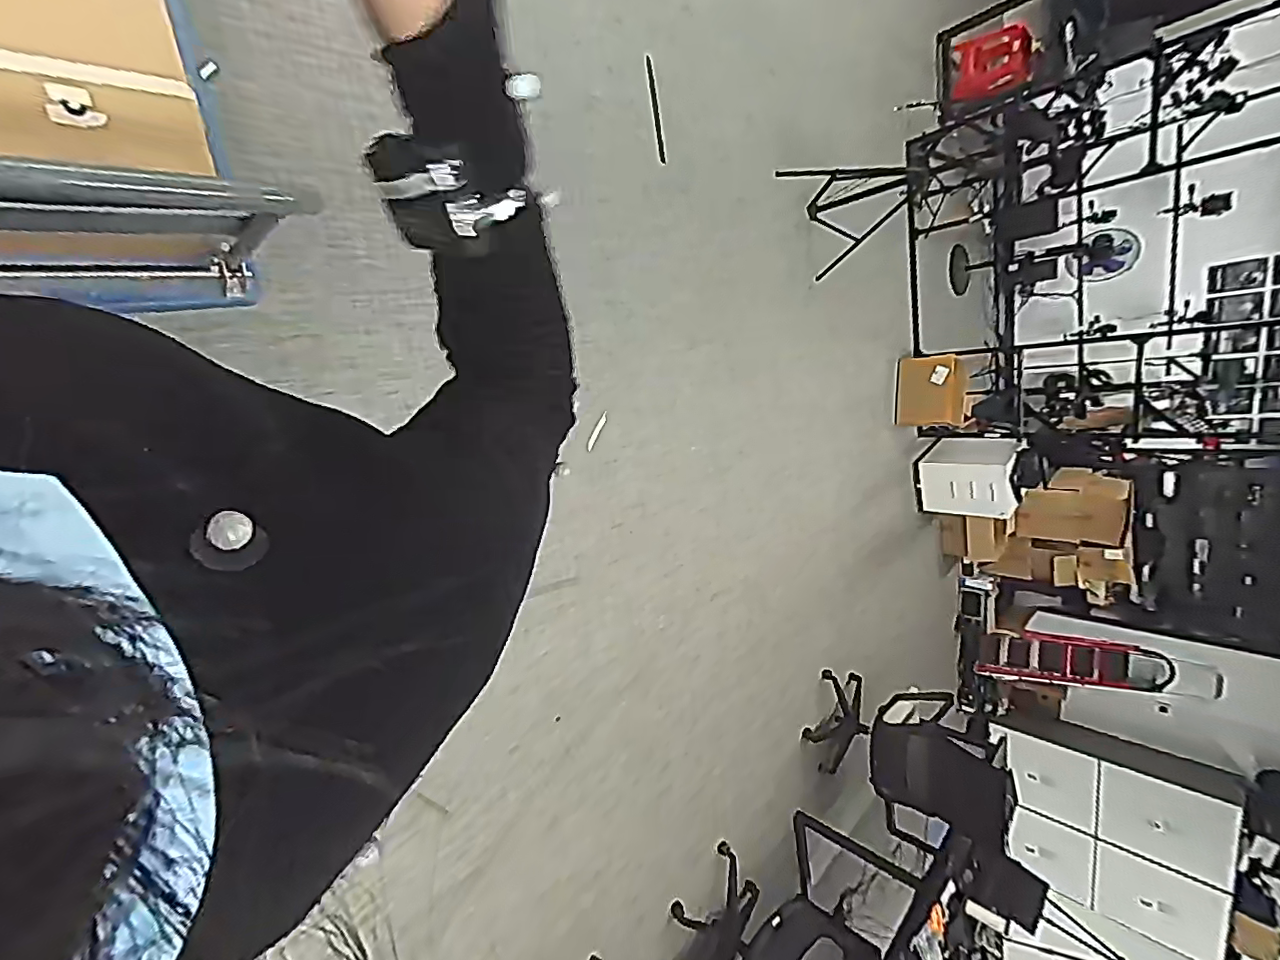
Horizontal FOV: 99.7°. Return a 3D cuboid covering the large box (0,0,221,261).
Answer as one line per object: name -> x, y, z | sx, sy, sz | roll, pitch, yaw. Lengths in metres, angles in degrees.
large box -> -0.900, -0.504, 0.761 | 0.408, 0.320, 0.320 | -20, 107, -42
